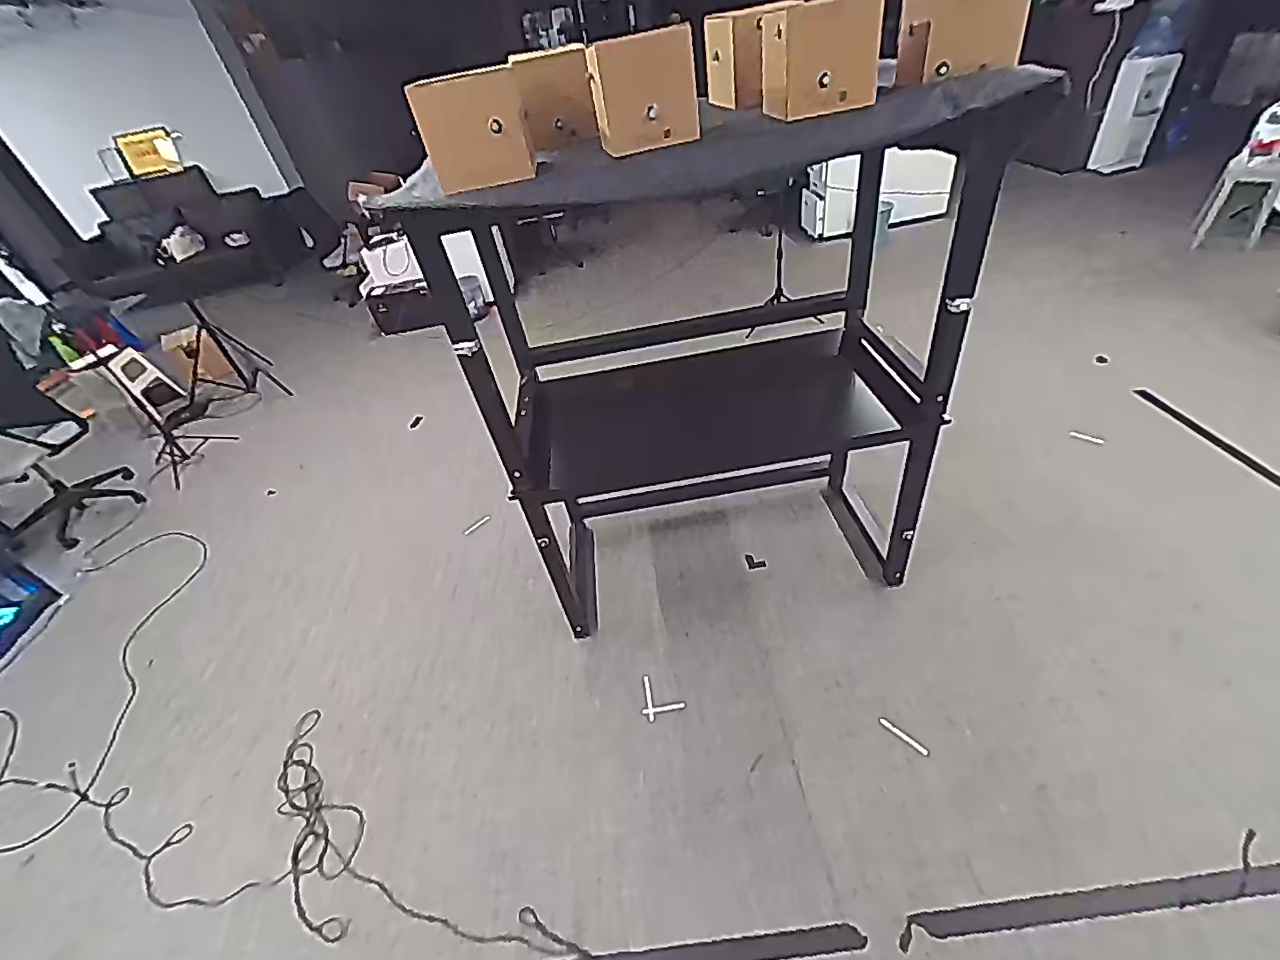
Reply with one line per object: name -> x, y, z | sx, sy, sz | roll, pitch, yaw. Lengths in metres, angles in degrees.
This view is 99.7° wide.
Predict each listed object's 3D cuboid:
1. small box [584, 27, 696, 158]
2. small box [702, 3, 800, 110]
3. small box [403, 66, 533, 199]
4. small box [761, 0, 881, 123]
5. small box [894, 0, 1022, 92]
small box -> -0.001, -0.713, 1.005 | 0.168, 0.176, 0.179 | -14, 38, -2
small box -> 0.251, -0.968, 1.243 | 0.168, 0.176, 0.179 | -17, 40, -5
small box -> -0.301, -0.638, 0.993 | 0.179, 0.176, 0.168 | -11, 40, 0
small box -> 0.328, -0.787, 1.015 | 0.168, 0.176, 0.179 | -10, 39, 2
small box -> 0.596, -0.852, 1.023 | 0.168, 0.176, 0.179 | -5, 39, 9
